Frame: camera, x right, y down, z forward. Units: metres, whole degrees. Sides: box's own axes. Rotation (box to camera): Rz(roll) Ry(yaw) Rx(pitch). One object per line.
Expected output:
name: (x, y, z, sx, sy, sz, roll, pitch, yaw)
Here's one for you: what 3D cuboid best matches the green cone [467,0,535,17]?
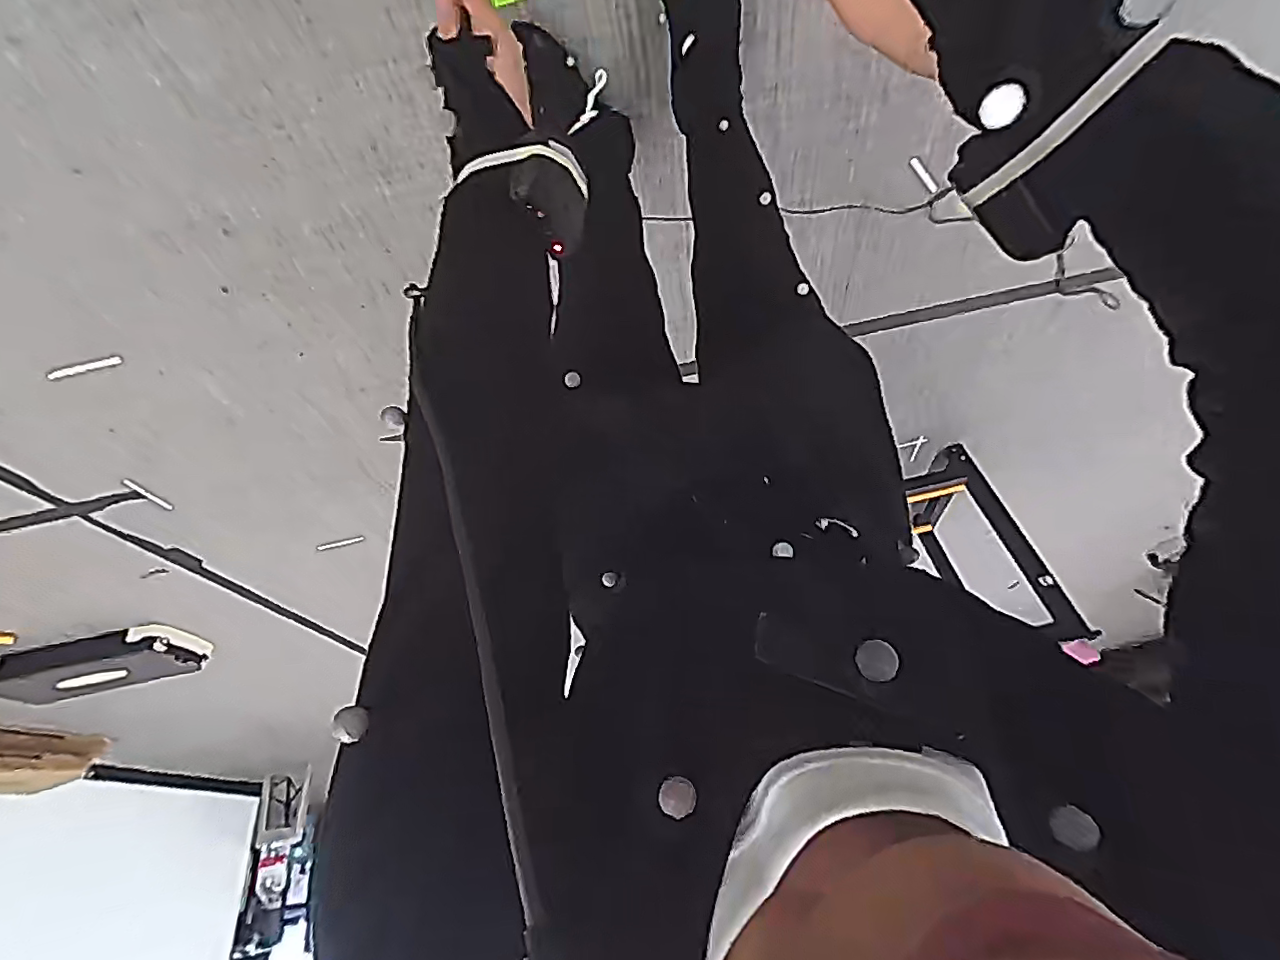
green cone: (0.008, -0.355, 0.292, 0.200, 0.368, 0.202, -27, 148, -9)
